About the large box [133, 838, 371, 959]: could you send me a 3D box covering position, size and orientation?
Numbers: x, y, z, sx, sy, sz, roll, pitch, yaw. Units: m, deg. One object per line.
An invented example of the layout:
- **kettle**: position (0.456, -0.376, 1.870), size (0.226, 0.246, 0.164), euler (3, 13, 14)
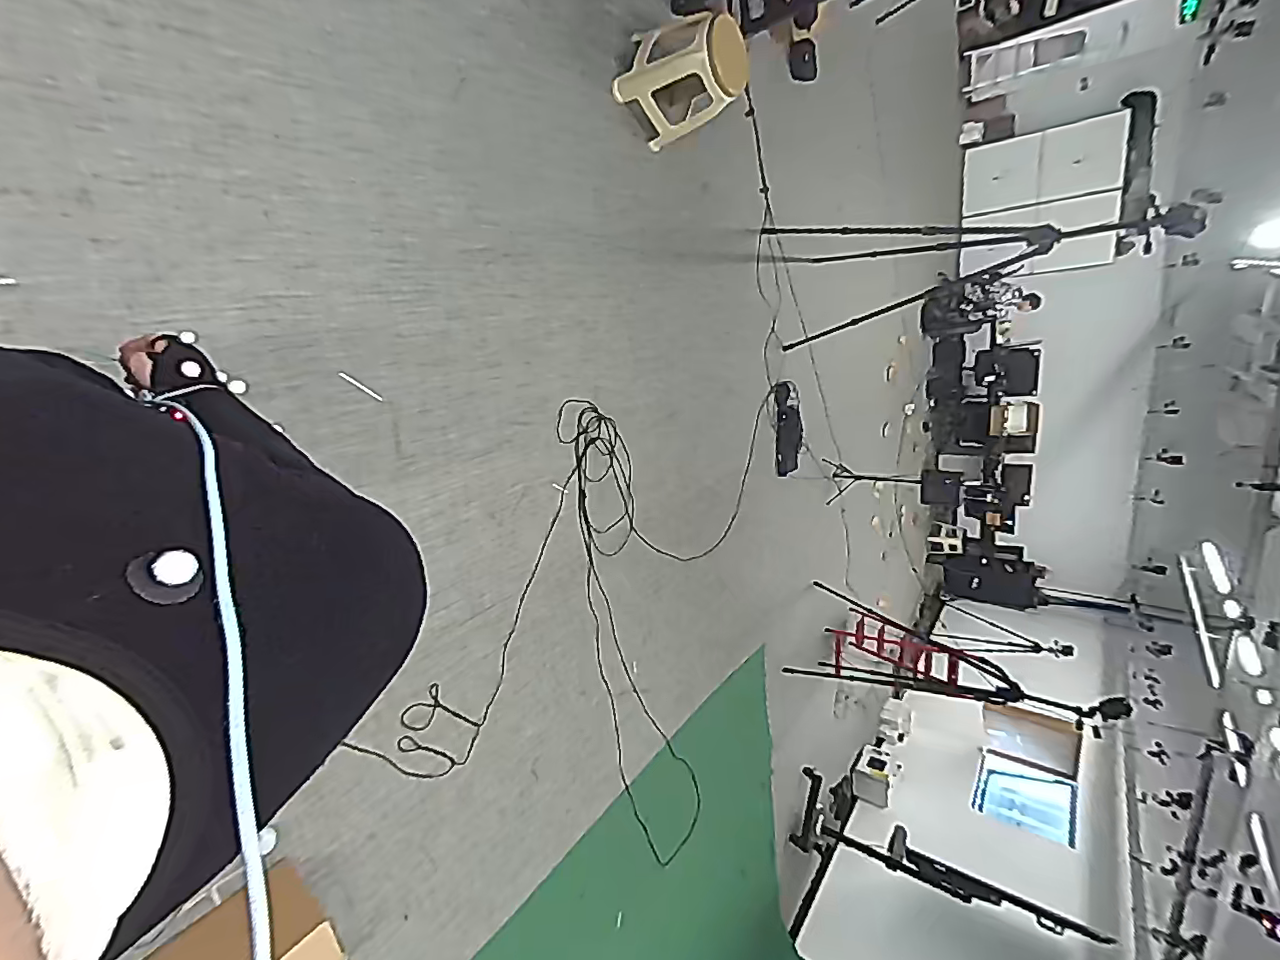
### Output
- **large box**: position (-0.986, 1.260, 1.397), size (0.408, 0.320, 0.320), euler (-27, 114, -45)
